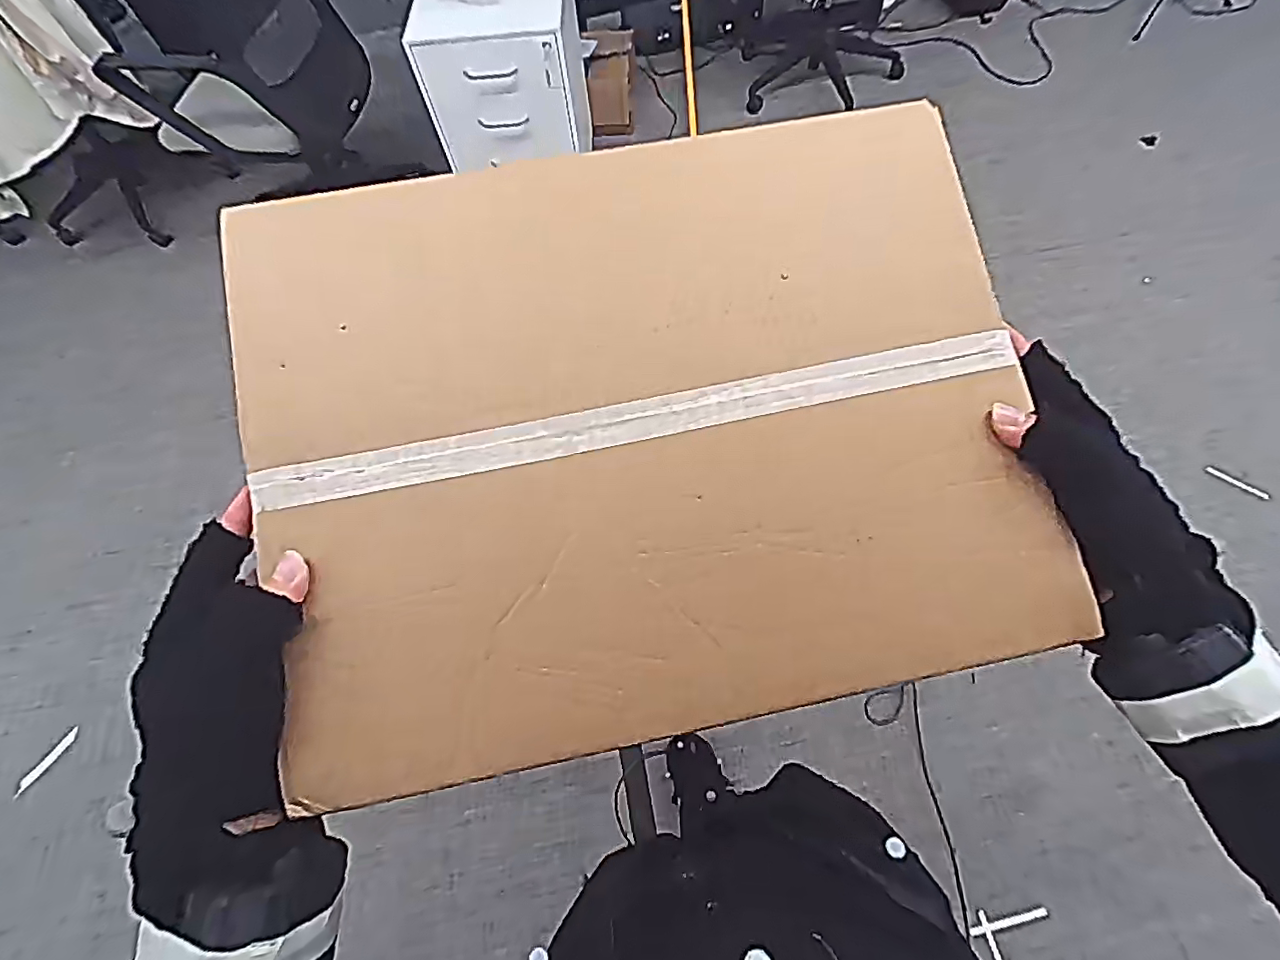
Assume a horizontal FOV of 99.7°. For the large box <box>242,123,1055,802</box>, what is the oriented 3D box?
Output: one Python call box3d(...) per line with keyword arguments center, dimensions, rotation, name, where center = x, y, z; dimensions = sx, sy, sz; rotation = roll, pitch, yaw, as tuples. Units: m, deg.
box3d(center=(-0.003, -0.010, 0.442), dimensions=(0.408, 0.320, 0.320), rotation=(-11, 82, -4), name="large box")
